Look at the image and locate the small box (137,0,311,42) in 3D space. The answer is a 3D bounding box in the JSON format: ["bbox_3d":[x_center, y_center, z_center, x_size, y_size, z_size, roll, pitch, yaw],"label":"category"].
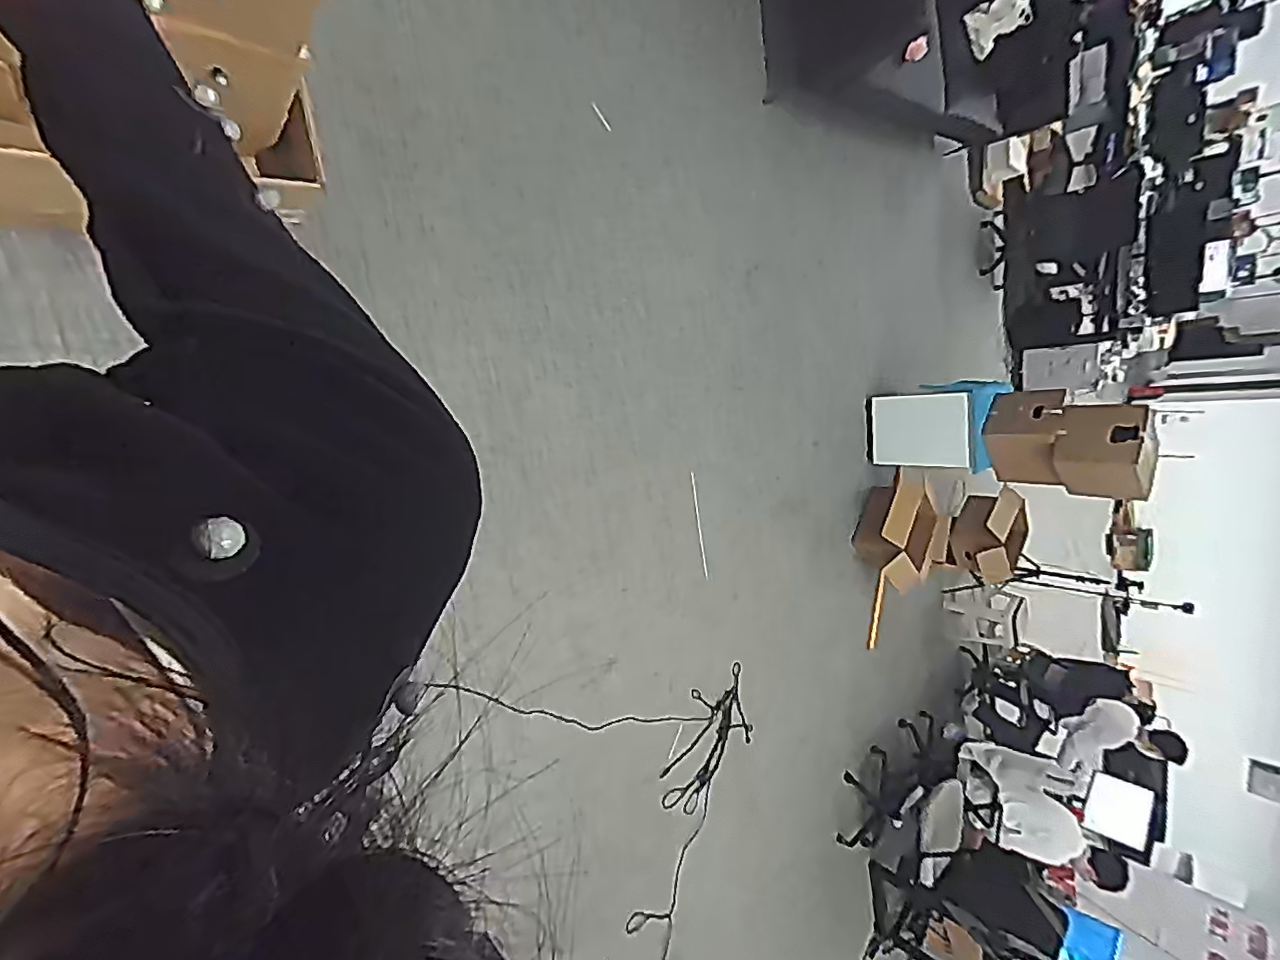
[{"bbox_3d":[-0.433,-0.582,0.531,0.179,0.176,0.168,-12,101,-40],"label":"small box"}]

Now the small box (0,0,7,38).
[{"bbox_3d":[-0.724,-0.548,0.493,0.179,0.176,0.168,-9,99,-44],"label":"small box"}]
